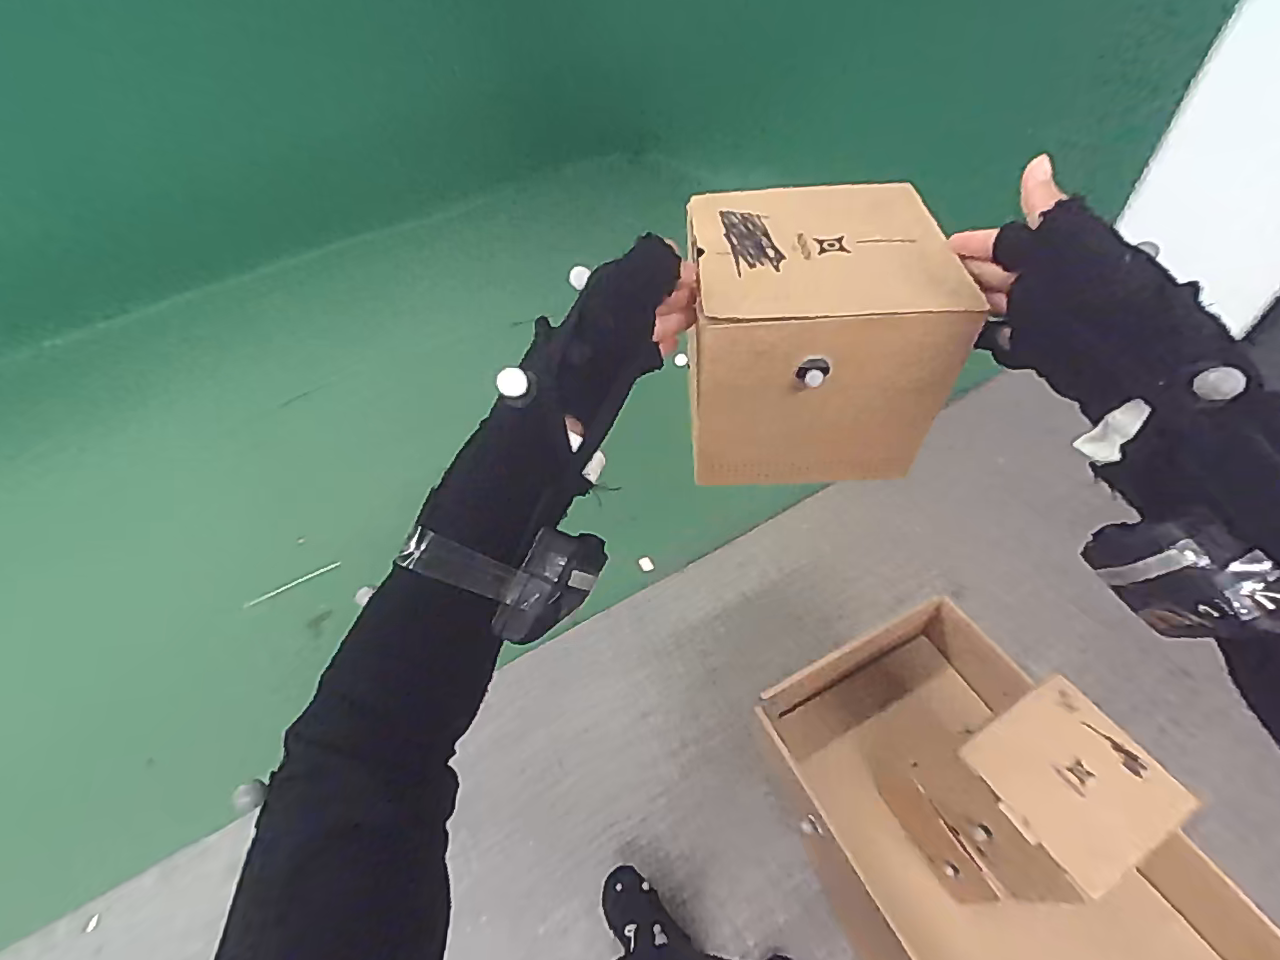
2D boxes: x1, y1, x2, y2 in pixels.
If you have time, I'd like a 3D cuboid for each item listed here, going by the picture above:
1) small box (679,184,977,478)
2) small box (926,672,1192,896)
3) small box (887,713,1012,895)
[{"bbox_3d":[0.124,-0.113,0.440,0.179,0.176,0.168,-2,53,3],"label":"small box"},{"bbox_3d":[0.487,0.375,0.666,0.179,0.176,0.168,-27,55,-13],"label":"small box"},{"bbox_3d":[0.494,0.477,0.795,0.179,0.176,0.168,-24,54,-14],"label":"small box"}]
